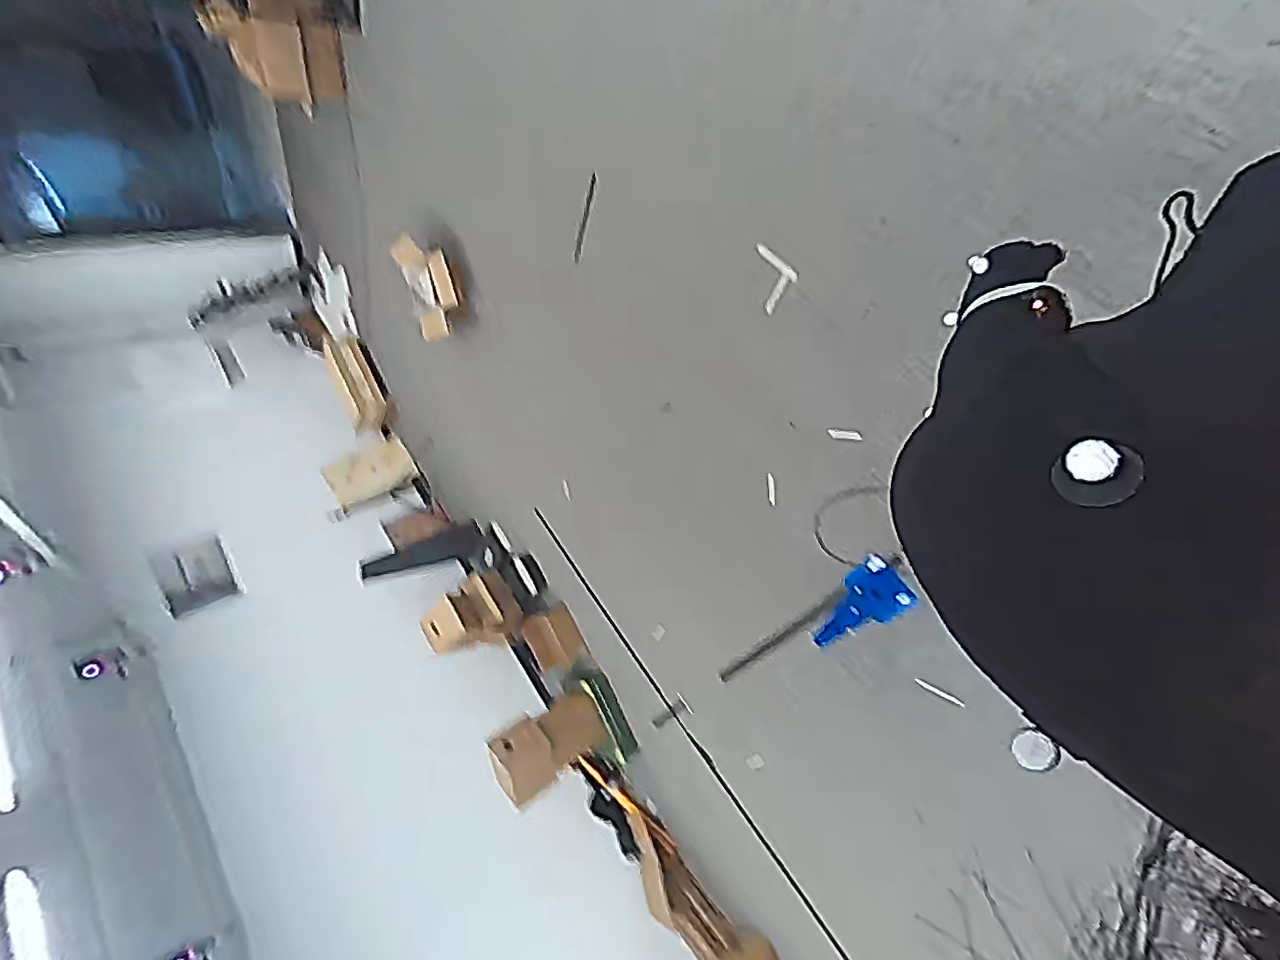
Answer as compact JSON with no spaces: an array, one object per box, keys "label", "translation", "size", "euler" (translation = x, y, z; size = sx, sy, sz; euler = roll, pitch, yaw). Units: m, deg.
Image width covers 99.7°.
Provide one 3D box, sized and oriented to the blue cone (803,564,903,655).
[{"label":"blue cone","translation":[0.642,0.440,1.712],"size":[0.193,0.380,0.192],"euler":[51,142,20]}]
